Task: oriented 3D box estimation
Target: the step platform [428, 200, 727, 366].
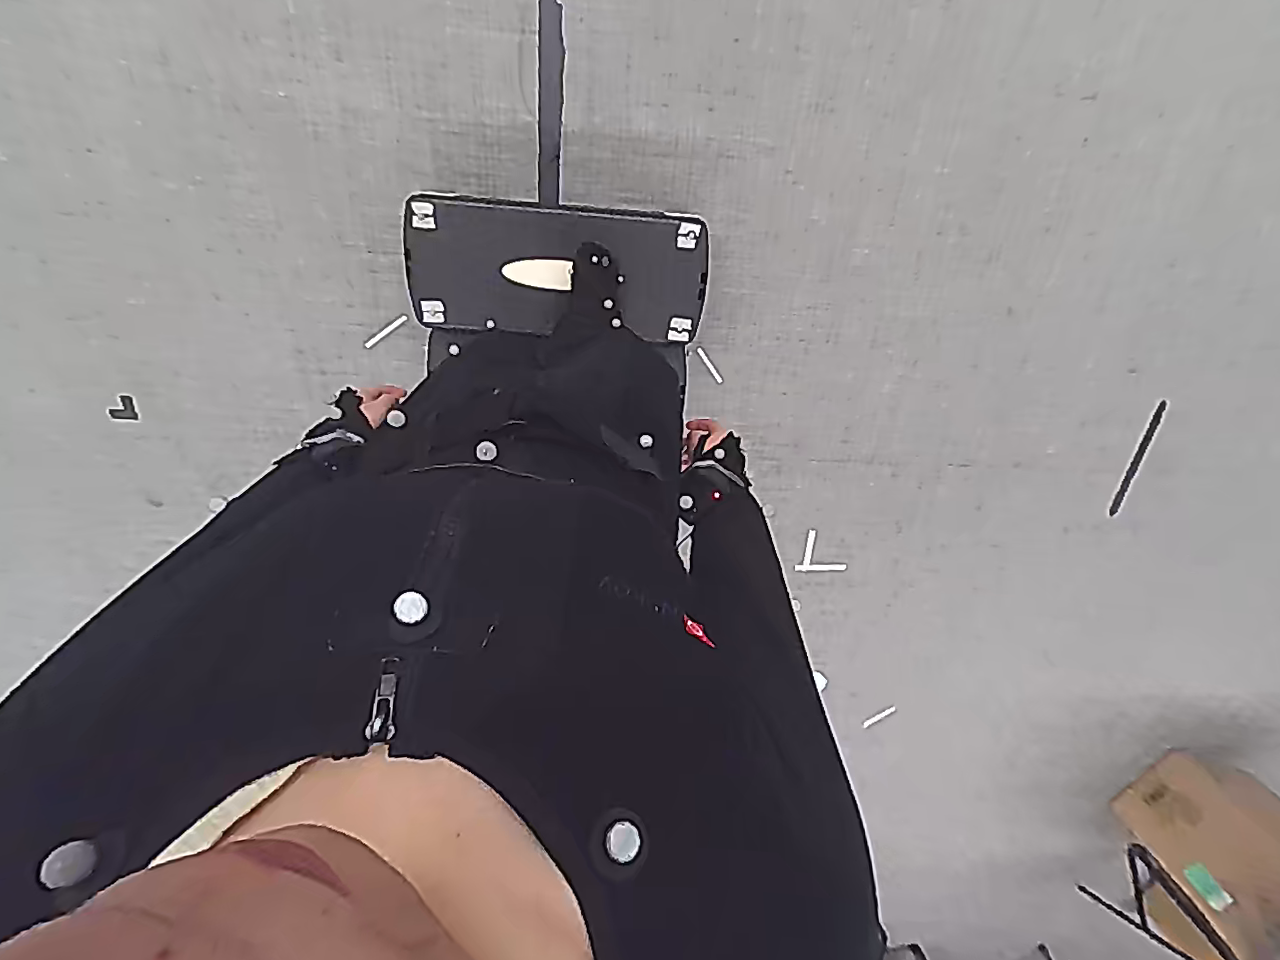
[{"bbox_3d":[-0.141,-0.462,1.293,0.684,0.204,0.286,6,114,-7],"label":"step platform"}]
